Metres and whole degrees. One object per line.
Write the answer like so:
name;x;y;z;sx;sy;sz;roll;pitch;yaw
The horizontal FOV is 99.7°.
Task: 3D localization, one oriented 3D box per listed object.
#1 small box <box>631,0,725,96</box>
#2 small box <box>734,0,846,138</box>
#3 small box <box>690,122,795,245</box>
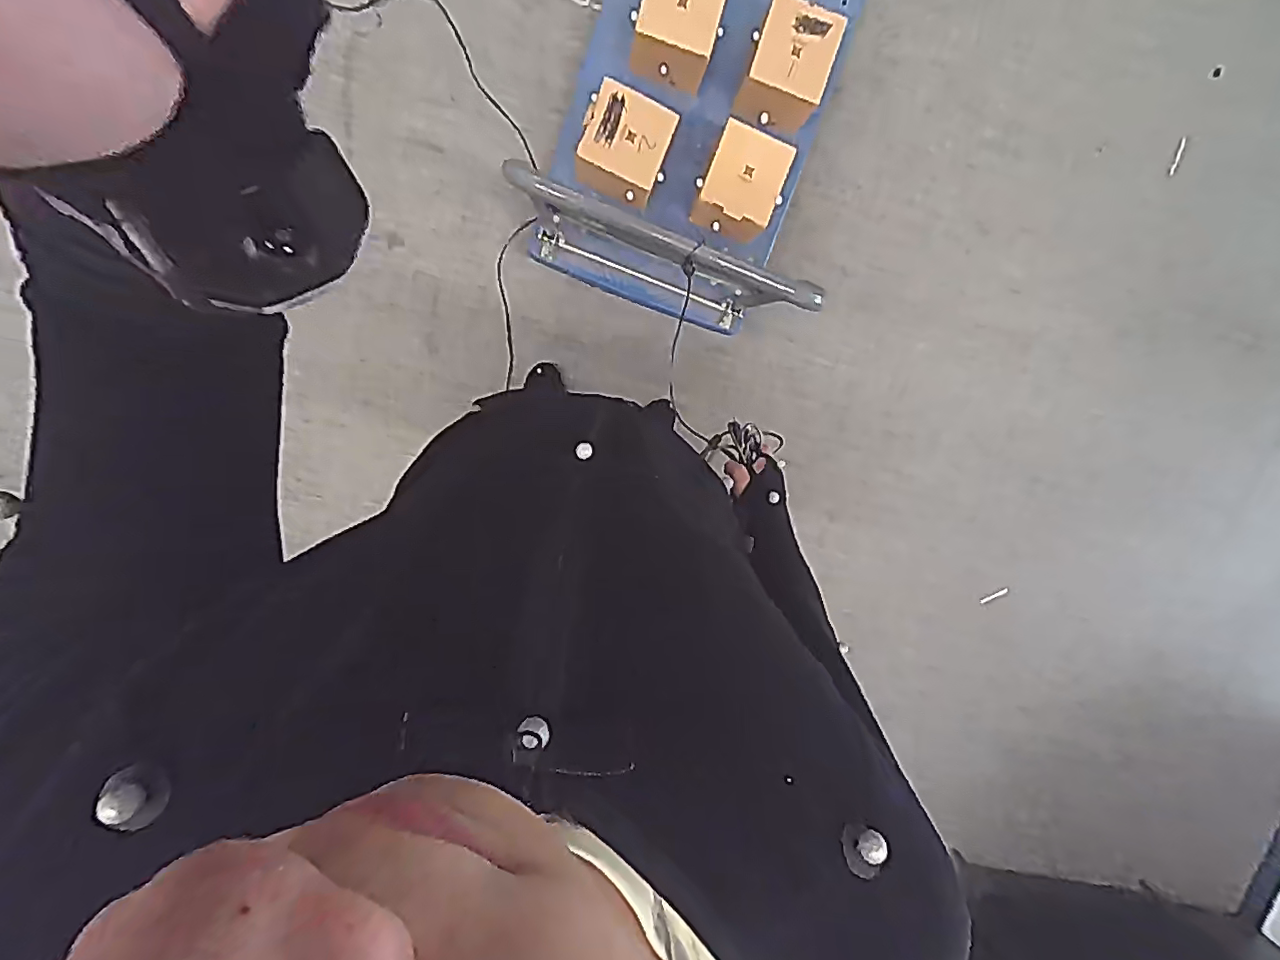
small box;0.081;-0.992;1.185;0.168;0.176;0.179;15;100;-8
small box;0.326;-0.919;1.218;0.168;0.176;0.179;17;100;-7
small box;0.228;-0.679;1.261;0.168;0.176;0.179;19;100;-8
